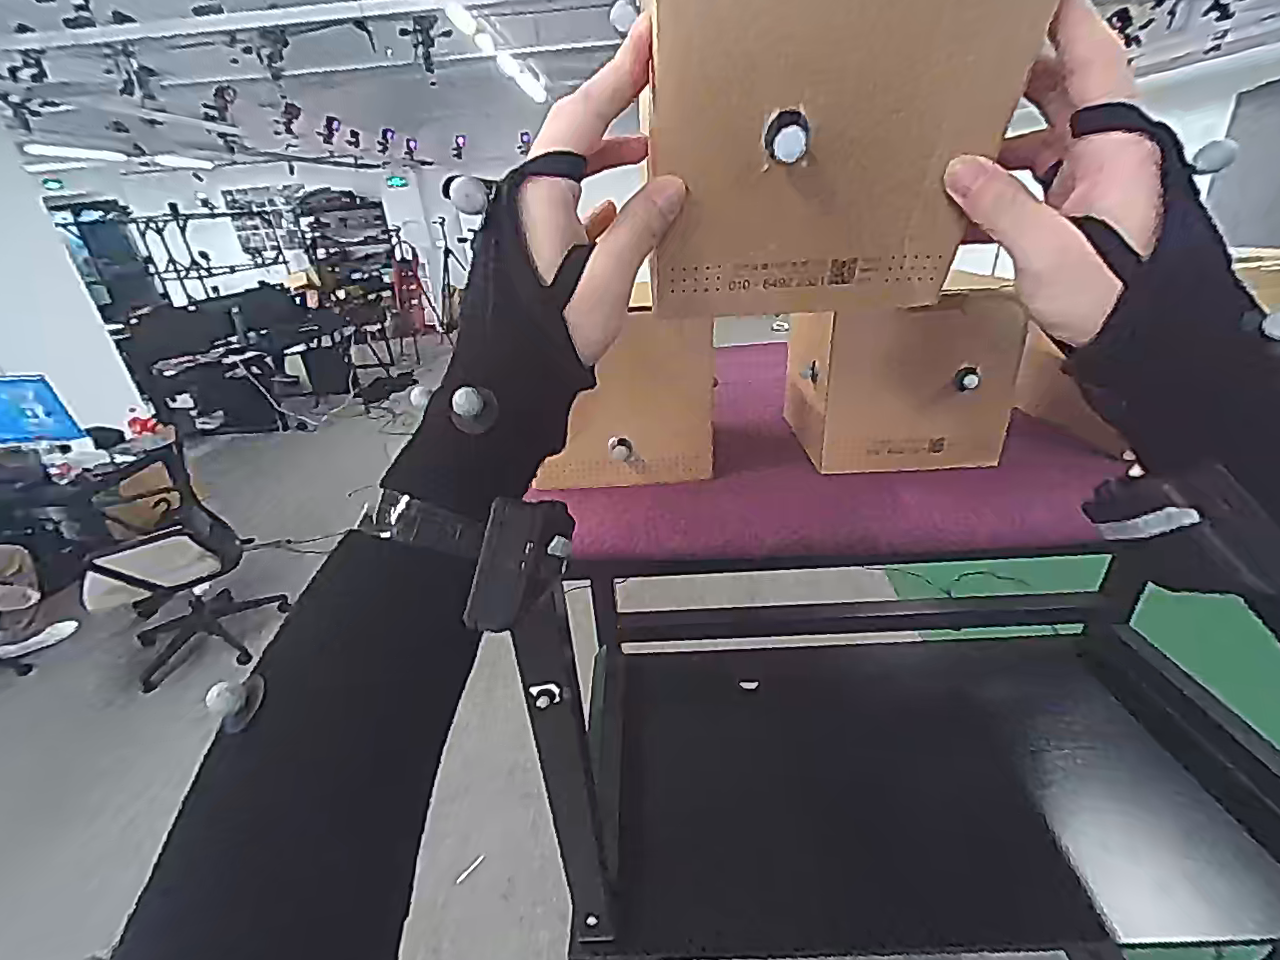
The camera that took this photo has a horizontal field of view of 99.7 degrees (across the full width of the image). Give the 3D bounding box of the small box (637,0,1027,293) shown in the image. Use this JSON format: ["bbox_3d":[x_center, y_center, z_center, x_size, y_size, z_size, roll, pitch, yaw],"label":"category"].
[{"bbox_3d":[0.085,-0.221,0.314,0.168,0.176,0.179,-3,46,-1],"label":"small box"}]

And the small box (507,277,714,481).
[{"bbox_3d":[-0.024,-0.108,0.556,0.179,0.176,0.168,-3,26,-1],"label":"small box"}]

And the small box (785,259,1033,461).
[{"bbox_3d":[0.249,-0.124,0.551,0.168,0.176,0.179,-2,25,3],"label":"small box"}]
